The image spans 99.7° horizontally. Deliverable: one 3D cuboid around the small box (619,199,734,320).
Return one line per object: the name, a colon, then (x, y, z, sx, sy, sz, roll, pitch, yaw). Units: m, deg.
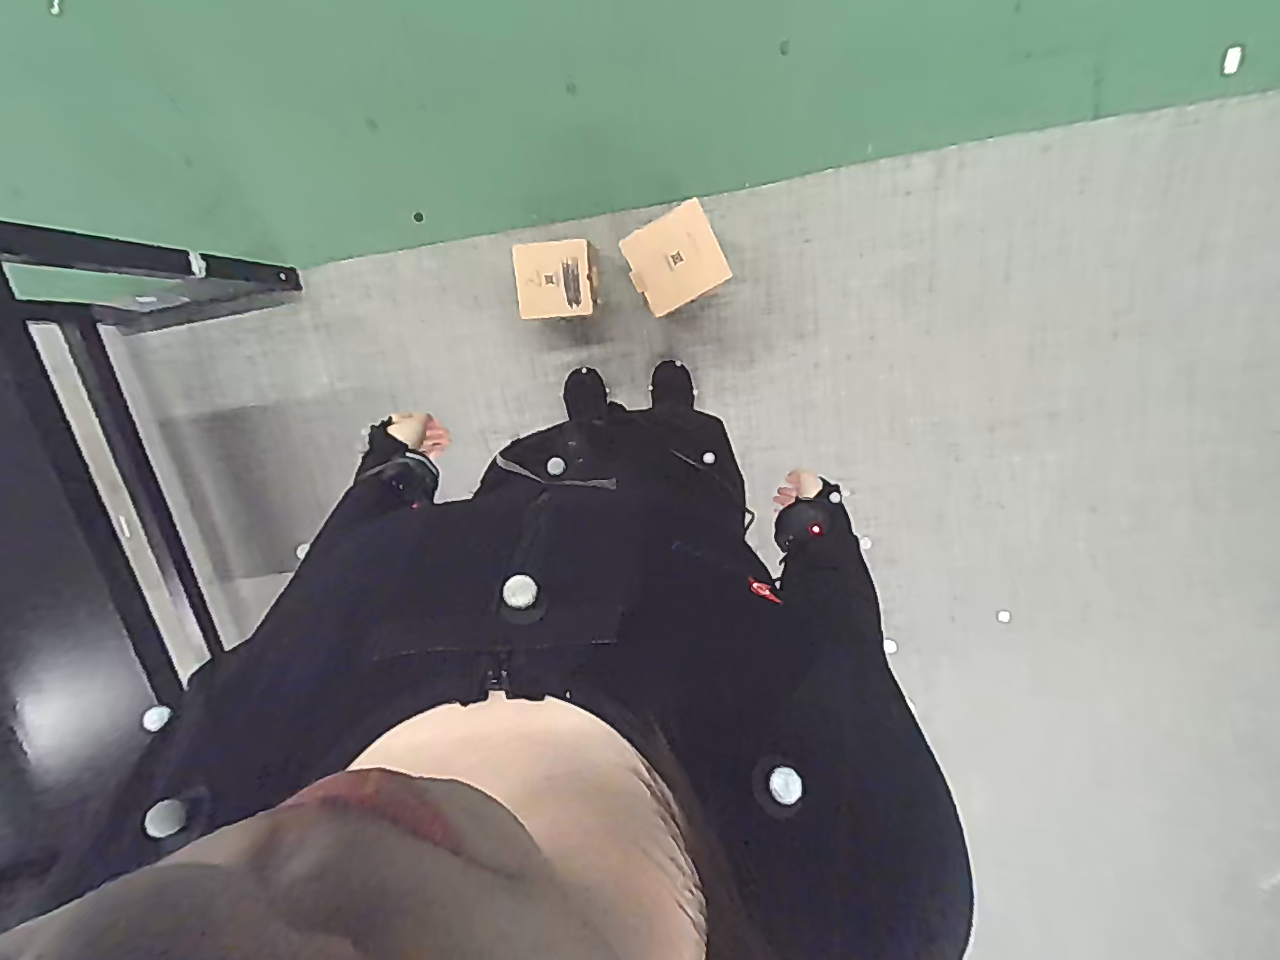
small box: (0.076, -0.445, 1.123, 0.179, 0.176, 0.168, -27, 104, 10)
